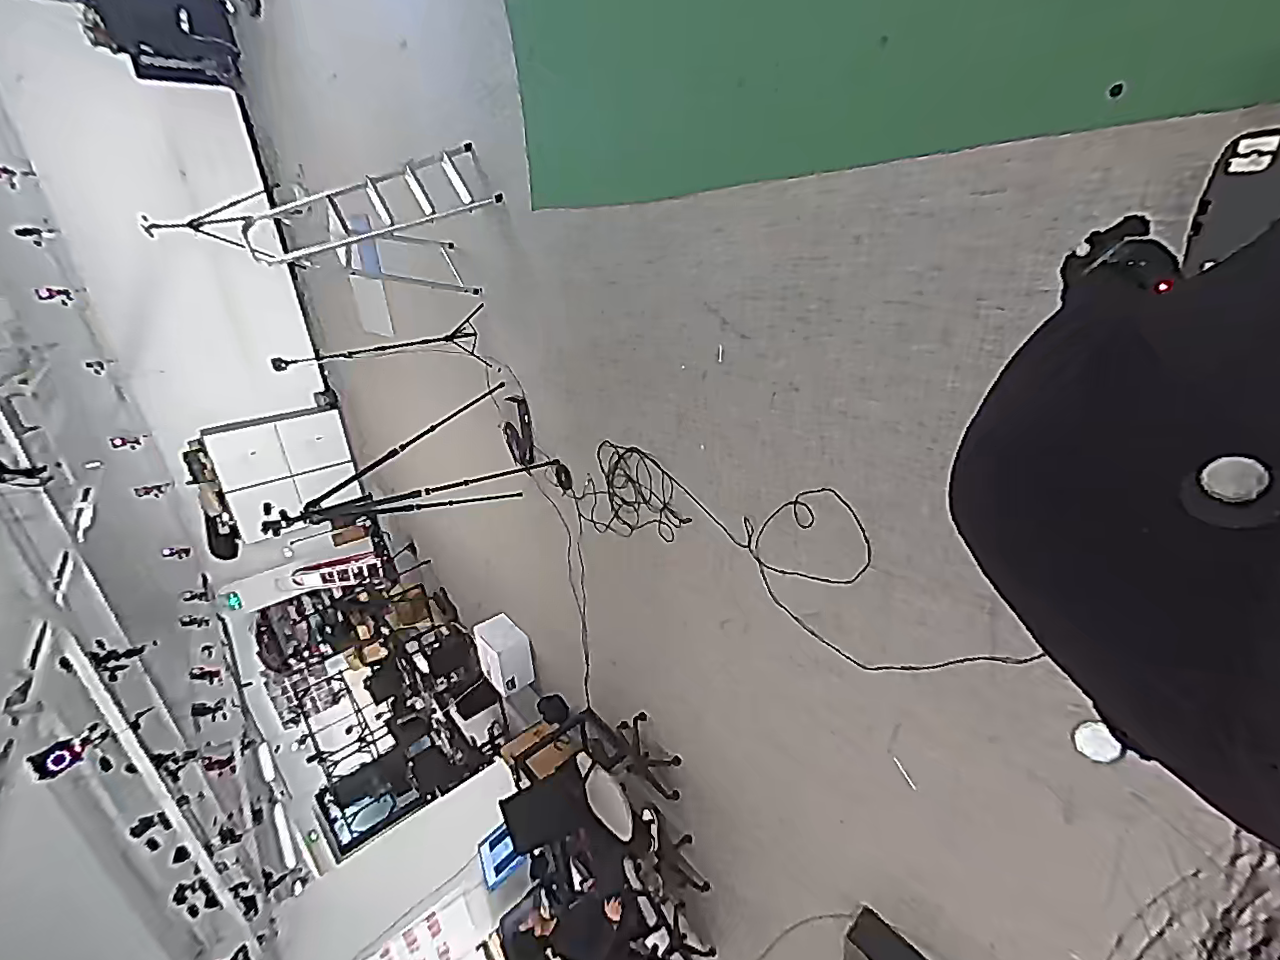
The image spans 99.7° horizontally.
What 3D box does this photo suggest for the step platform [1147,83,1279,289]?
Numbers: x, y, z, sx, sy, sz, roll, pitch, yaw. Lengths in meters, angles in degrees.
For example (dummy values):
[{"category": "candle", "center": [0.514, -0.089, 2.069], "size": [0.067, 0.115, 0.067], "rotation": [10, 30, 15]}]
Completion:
[{"category": "step platform", "center": [1.157, -0.409, 0.713], "size": [0.684, 0.204, 0.286], "rotation": [23, 126, 46]}]
